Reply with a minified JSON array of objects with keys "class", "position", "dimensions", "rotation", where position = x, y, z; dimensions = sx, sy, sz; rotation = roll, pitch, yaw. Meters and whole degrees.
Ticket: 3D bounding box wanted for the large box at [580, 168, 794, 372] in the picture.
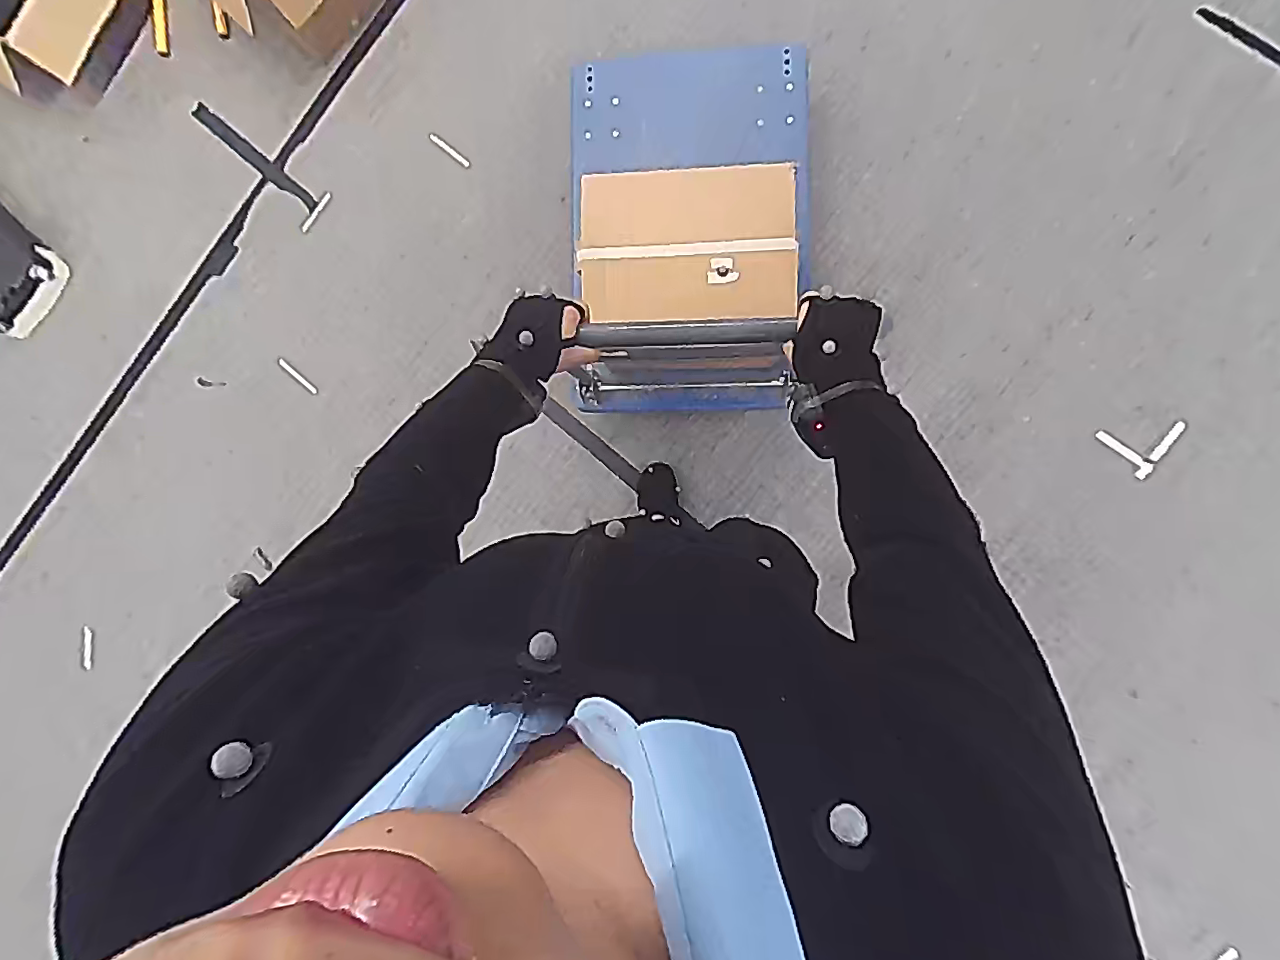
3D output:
[{"class":"large box","position":[0.095,-0.422,1.167],"dimensions":[0.408,0.320,0.320],"rotation":[0,90,4]}]
